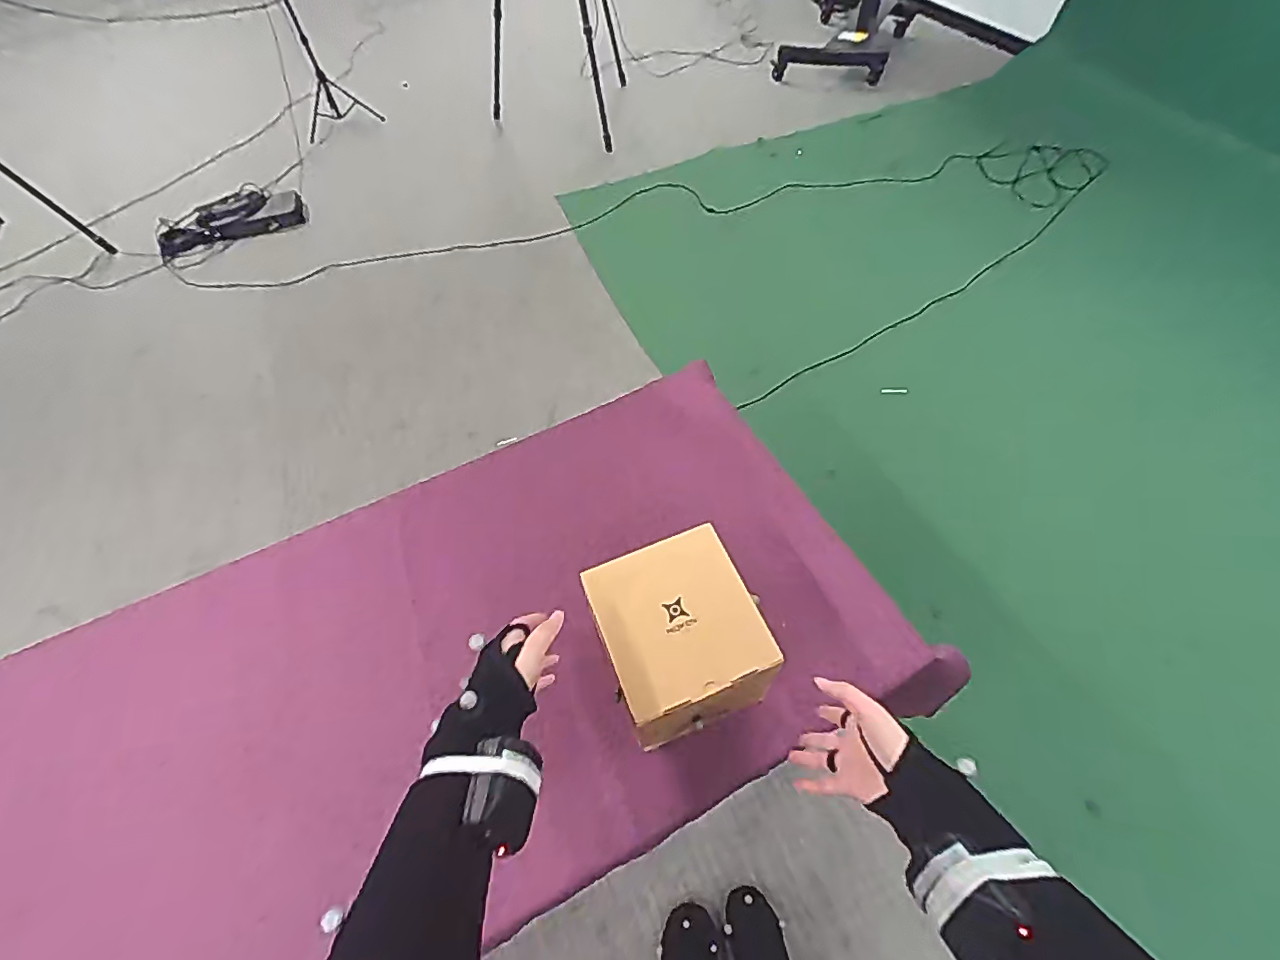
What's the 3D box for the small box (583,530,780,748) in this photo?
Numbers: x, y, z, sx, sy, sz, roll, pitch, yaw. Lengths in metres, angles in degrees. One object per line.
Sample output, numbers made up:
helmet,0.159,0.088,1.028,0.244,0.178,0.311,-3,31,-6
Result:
small box,0.042,0.194,0.650,0.168,0.176,0.179,-20,58,-10
